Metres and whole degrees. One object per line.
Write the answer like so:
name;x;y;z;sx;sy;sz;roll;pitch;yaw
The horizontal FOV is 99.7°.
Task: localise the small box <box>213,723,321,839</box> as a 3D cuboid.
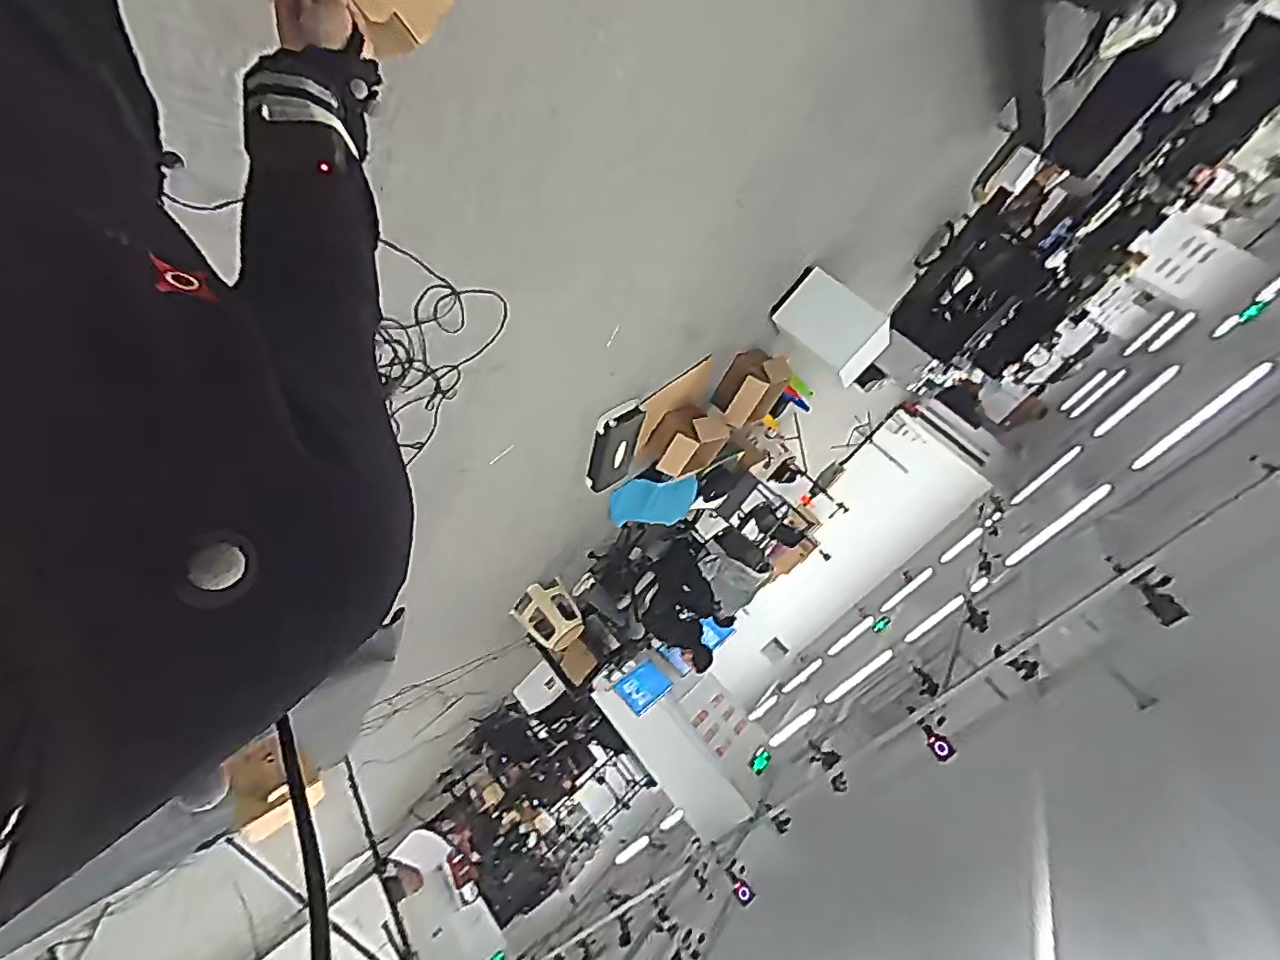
small box;-0.910;0.734;1.327;0.168;0.176;0.179;-25;154;-41
